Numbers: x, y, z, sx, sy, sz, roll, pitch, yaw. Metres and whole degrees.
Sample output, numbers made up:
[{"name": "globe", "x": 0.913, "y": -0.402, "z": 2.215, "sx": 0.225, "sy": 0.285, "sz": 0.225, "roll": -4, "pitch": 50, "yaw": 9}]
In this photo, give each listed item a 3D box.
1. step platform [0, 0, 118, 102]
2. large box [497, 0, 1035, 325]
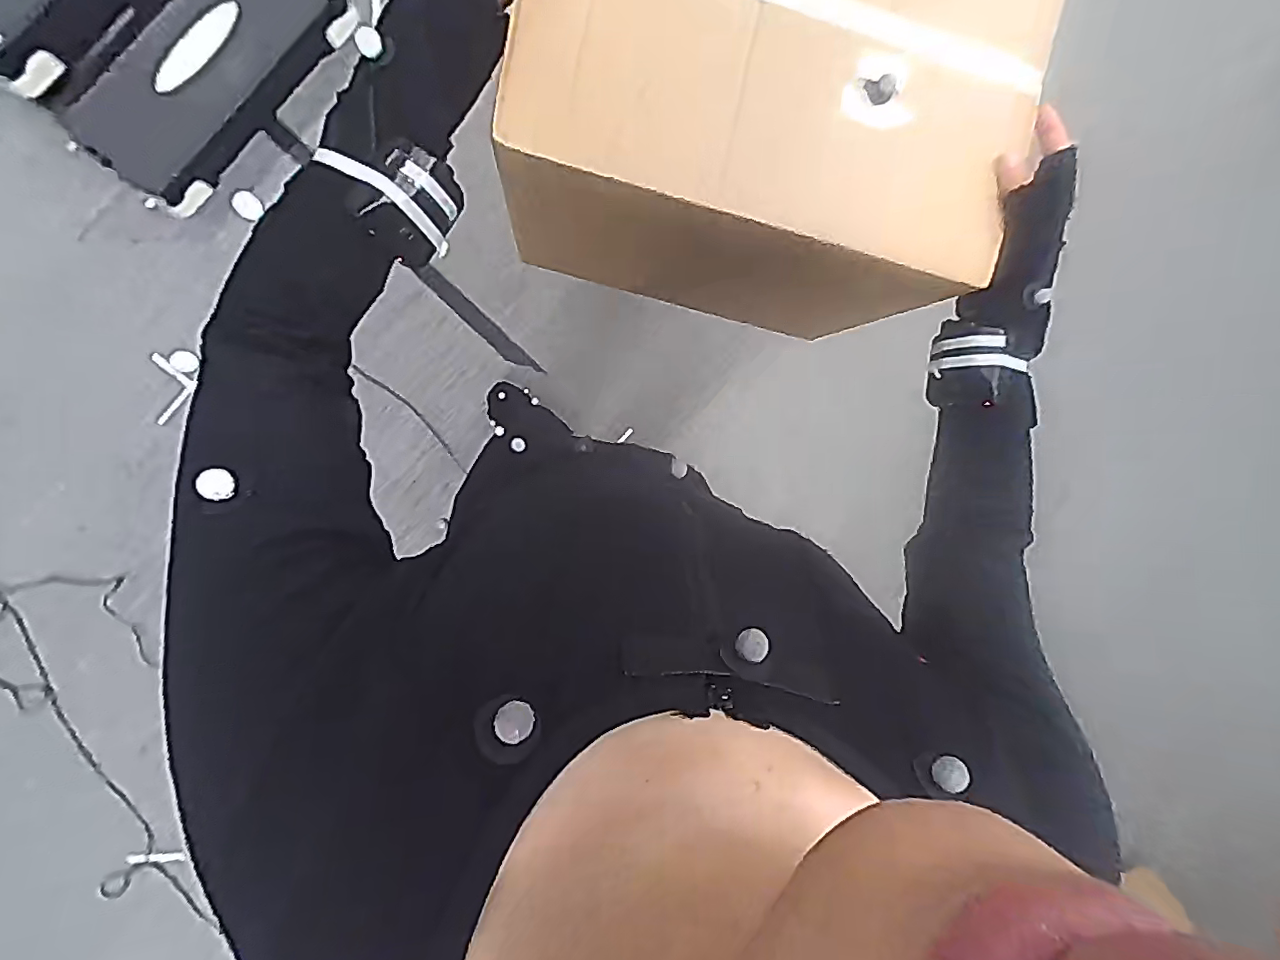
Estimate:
[{"name": "step platform", "x": -1.163, "y": -1.190, "z": 1.154, "sx": 0.286, "sy": 0.204, "sz": 0.684, "roll": 40, "pitch": 88, "yaw": -9}, {"name": "large box", "x": 0.089, "y": -0.376, "z": 0.555, "sx": 0.408, "sy": 0.320, "sz": 0.320, "roll": 11, "pitch": 95, "yaw": -11}]
